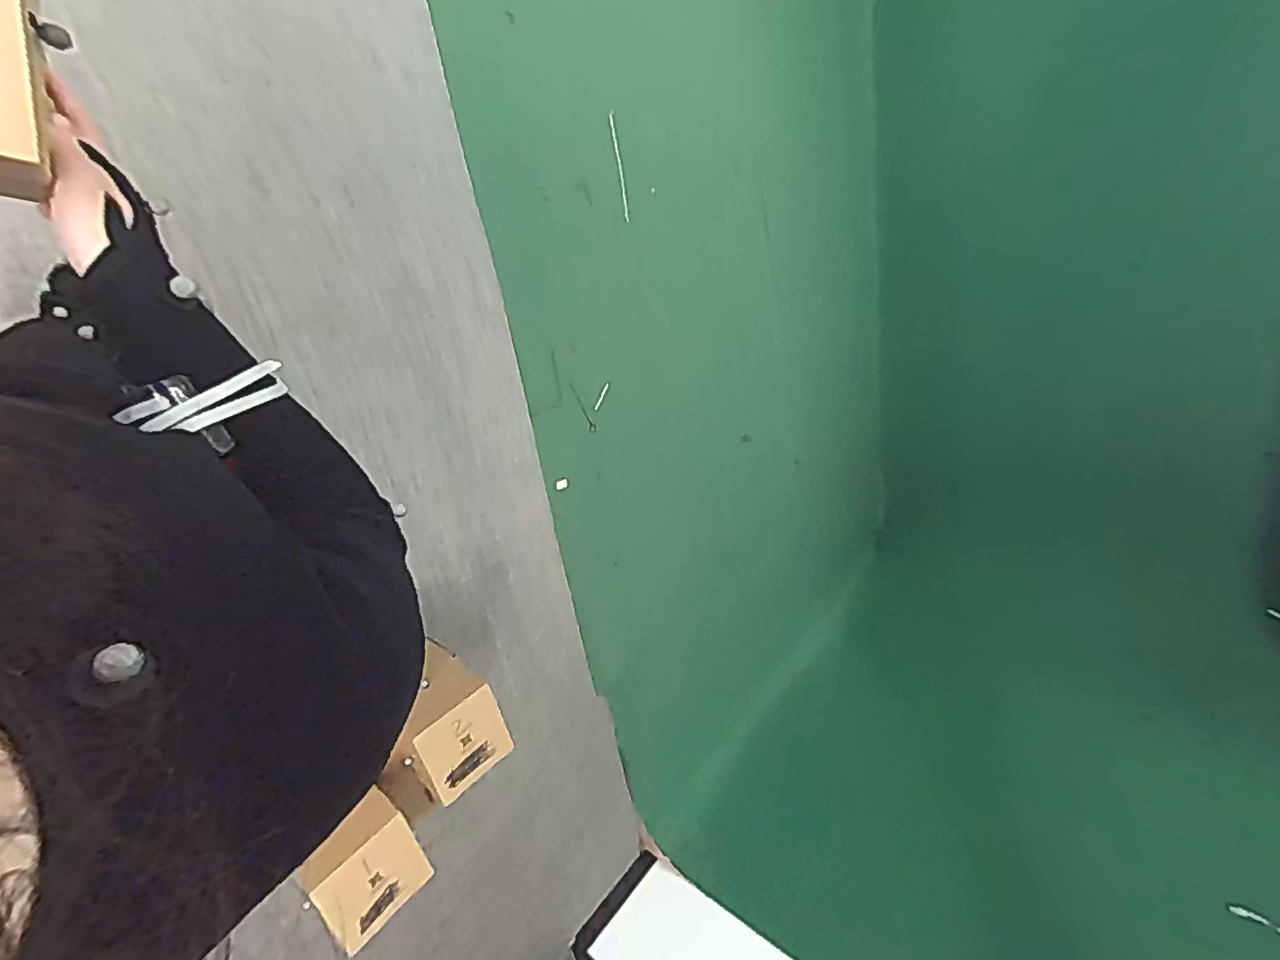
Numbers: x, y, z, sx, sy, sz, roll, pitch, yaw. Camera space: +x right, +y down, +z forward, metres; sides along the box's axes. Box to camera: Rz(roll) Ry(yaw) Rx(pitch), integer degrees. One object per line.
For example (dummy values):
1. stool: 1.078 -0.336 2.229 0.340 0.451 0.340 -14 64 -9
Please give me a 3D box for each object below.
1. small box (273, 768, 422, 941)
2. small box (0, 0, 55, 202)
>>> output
1. small box: -0.548 0.689 1.017 0.168 0.176 0.179 -33 119 -42
2. small box: -0.432 -0.261 0.276 0.168 0.176 0.179 -5 107 -44
